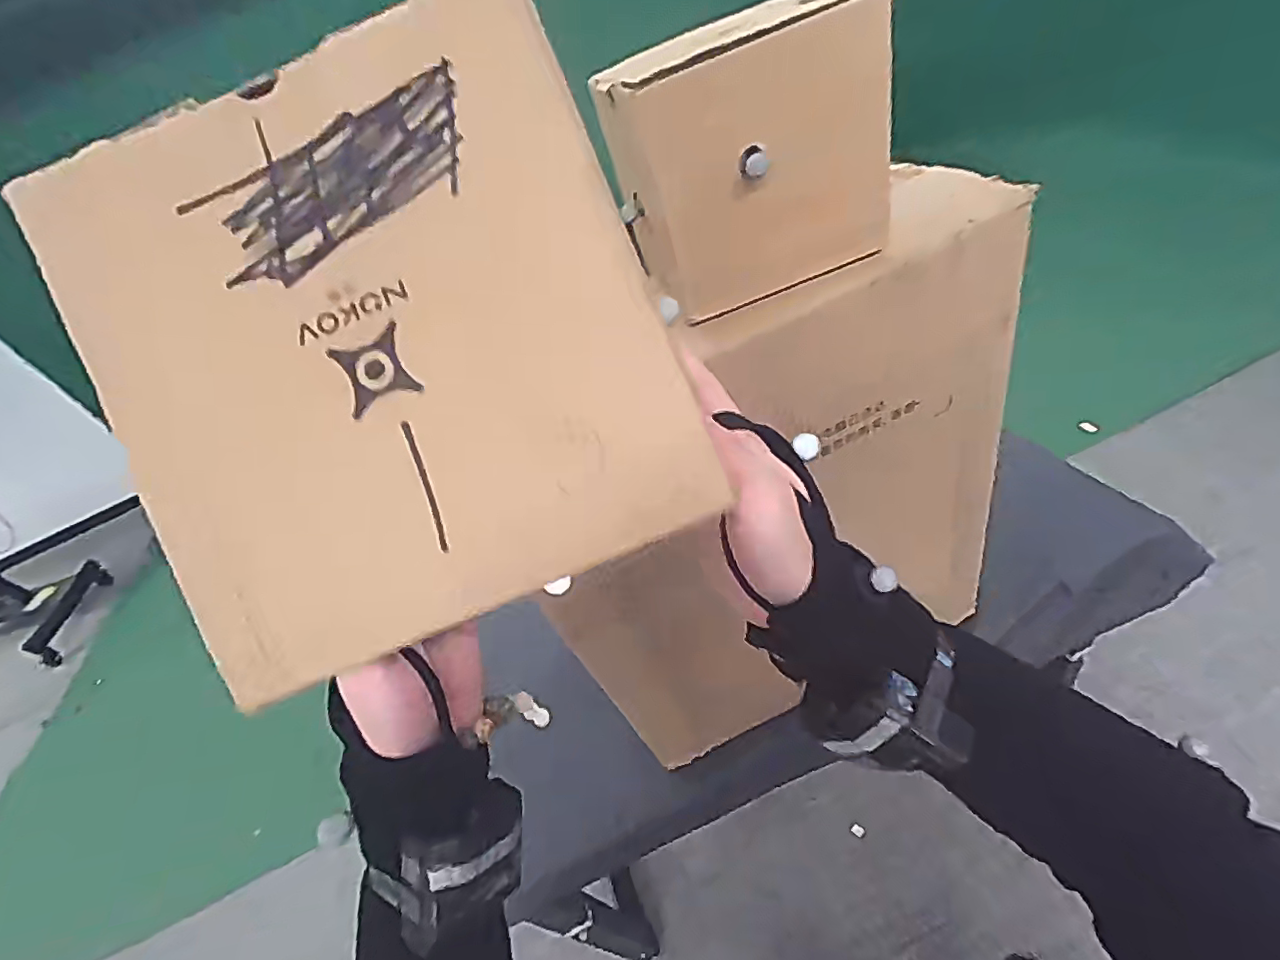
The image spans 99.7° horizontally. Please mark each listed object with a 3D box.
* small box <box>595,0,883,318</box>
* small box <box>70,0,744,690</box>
[{"bbox_3d":[0.082,-0.261,0.450,0.179,0.176,0.168,-22,41,1],"label":"small box"},{"bbox_3d":[-0.070,-0.042,0.247,0.168,0.179,0.176,-22,0,3],"label":"small box"}]
